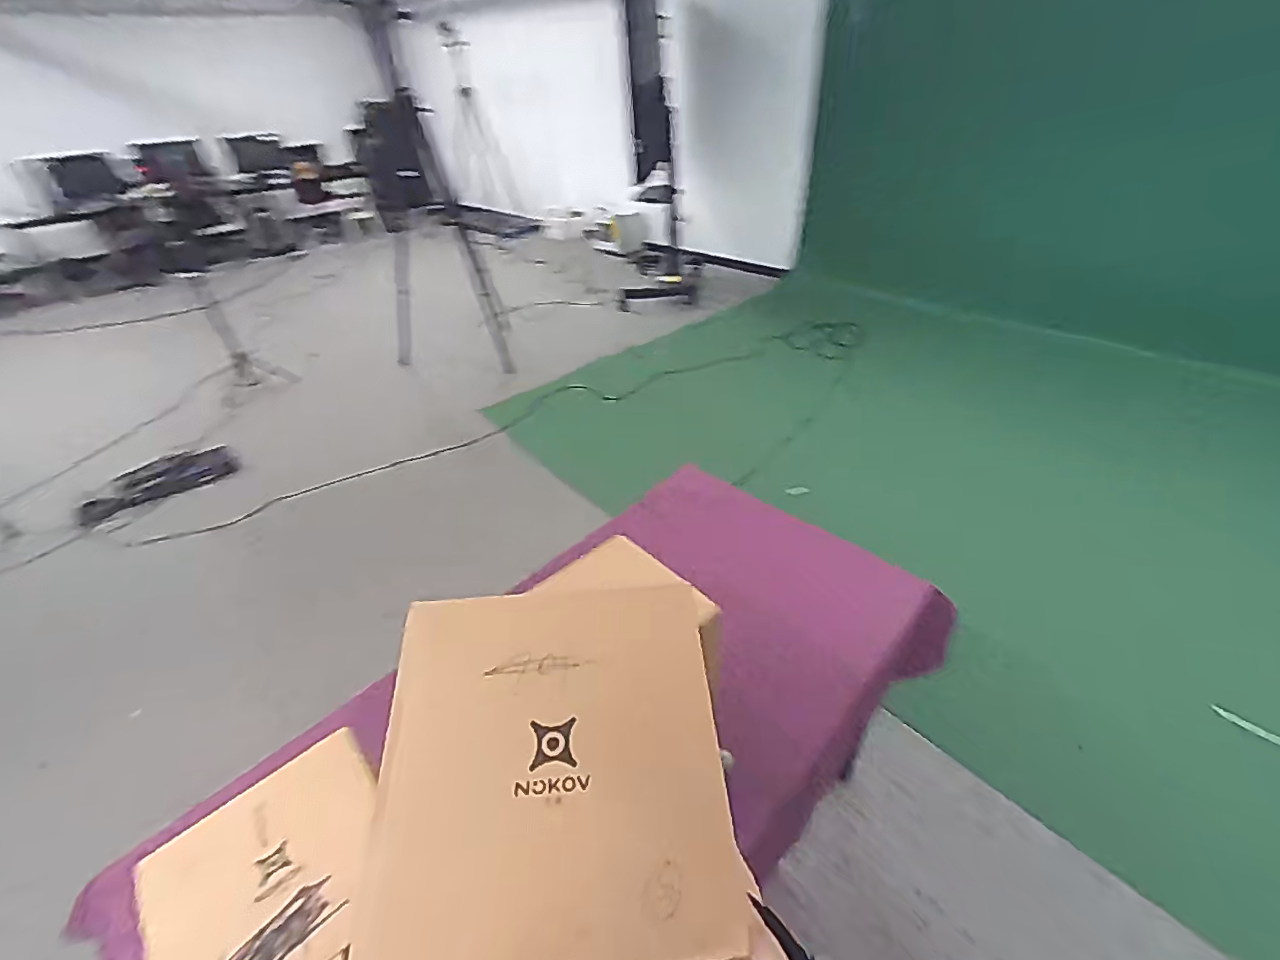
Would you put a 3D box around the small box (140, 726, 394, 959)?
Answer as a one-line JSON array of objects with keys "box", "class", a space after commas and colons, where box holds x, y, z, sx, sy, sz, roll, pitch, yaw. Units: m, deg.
[{"box": [-0.276, 0.364, 0.466, 0.168, 0.176, 0.179, -30, 44, -30], "class": "small box"}]

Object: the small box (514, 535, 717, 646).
[{"box": [-0.027, 0.204, 0.652, 0.168, 0.176, 0.179, -30, 45, -29], "class": "small box"}]

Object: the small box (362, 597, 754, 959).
[{"box": [-0.039, 0.189, 0.330, 0.168, 0.176, 0.179, -1, 53, -4], "class": "small box"}]
